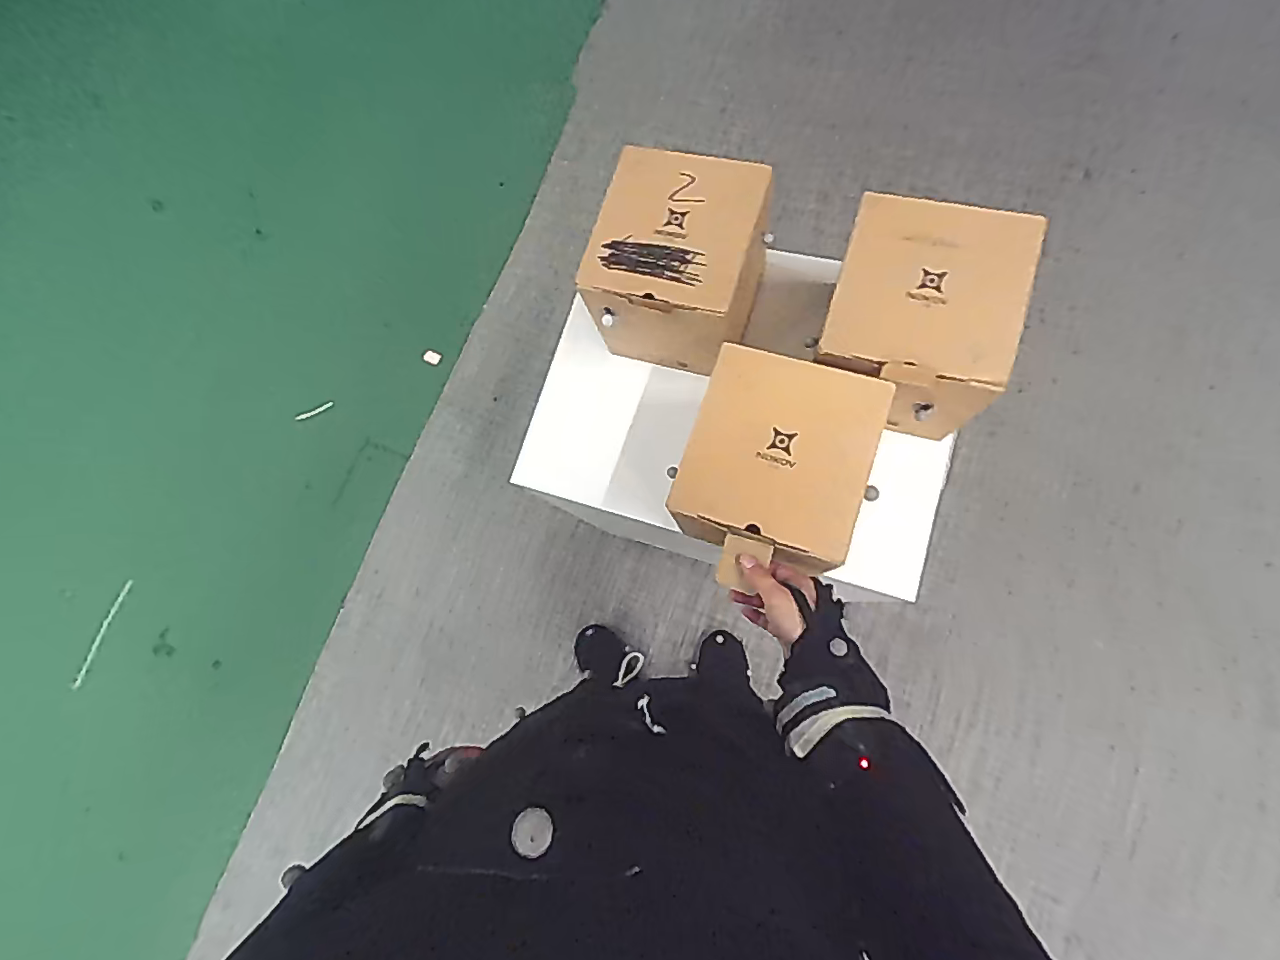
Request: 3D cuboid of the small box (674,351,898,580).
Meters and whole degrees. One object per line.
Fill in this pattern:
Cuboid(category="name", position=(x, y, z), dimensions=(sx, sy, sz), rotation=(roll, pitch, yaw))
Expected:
Cuboid(category="small box", position=(0.145, -0.005, 0.571), dimensions=(0.168, 0.176, 0.179), rotation=(17, 80, 13))

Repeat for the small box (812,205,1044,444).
Cuboid(category="small box", position=(0.286, -0.153, 0.580), dimensions=(0.168, 0.176, 0.179), rotation=(16, 80, 13))
